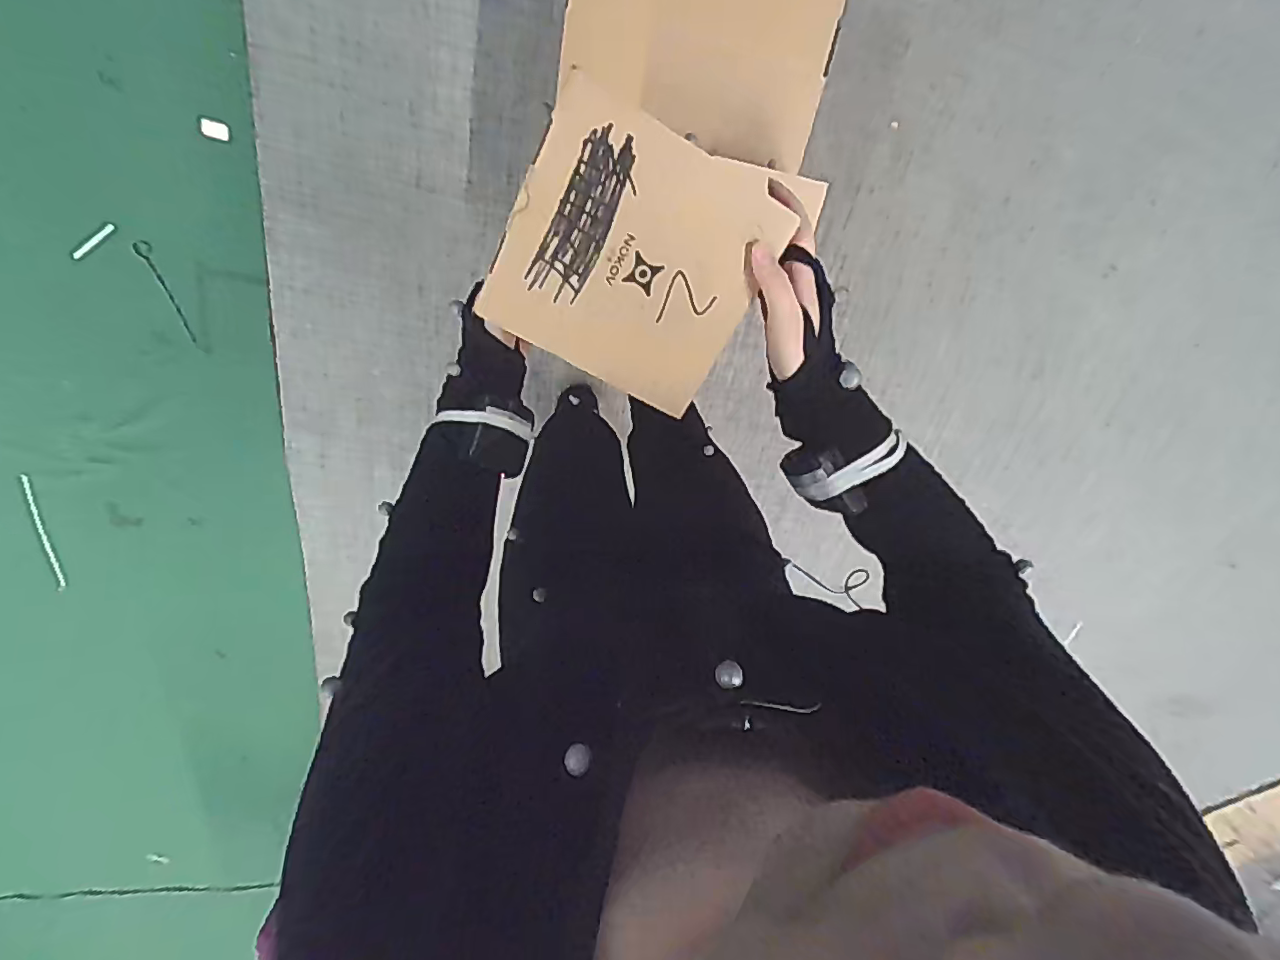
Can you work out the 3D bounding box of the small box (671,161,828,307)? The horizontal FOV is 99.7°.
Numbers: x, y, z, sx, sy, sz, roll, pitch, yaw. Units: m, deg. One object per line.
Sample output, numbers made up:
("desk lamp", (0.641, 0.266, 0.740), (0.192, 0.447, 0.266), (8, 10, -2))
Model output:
("small box", (0.158, -0.385, 0.849), (0.179, 0.176, 0.168), (9, 116, -9))
